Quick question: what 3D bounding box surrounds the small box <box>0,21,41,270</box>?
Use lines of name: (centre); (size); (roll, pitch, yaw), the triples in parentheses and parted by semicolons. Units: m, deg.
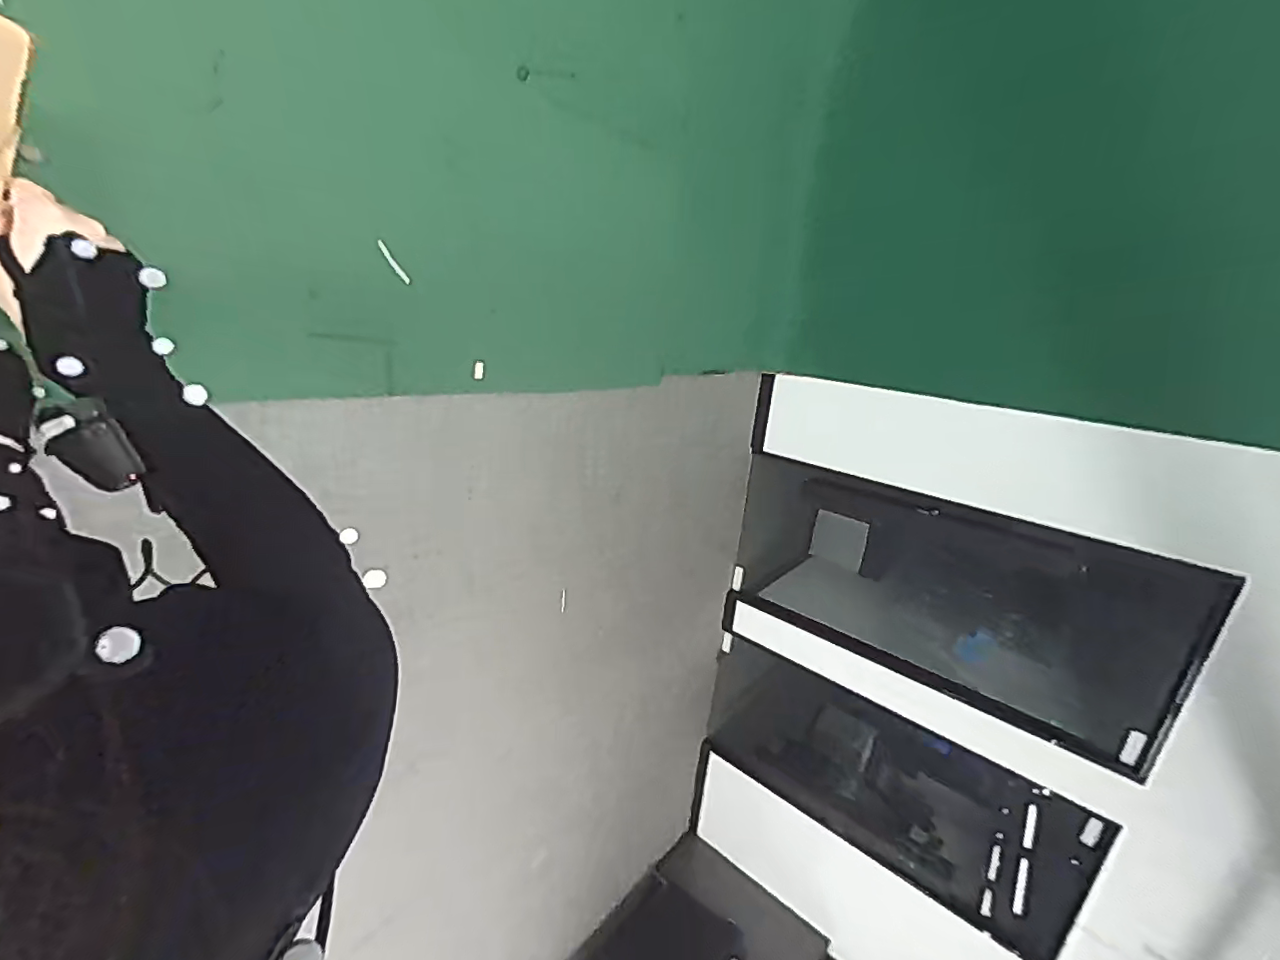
small box: (-0.526, -0.258, 0.340); (0.179, 0.176, 0.168); (9, 110, -53)
